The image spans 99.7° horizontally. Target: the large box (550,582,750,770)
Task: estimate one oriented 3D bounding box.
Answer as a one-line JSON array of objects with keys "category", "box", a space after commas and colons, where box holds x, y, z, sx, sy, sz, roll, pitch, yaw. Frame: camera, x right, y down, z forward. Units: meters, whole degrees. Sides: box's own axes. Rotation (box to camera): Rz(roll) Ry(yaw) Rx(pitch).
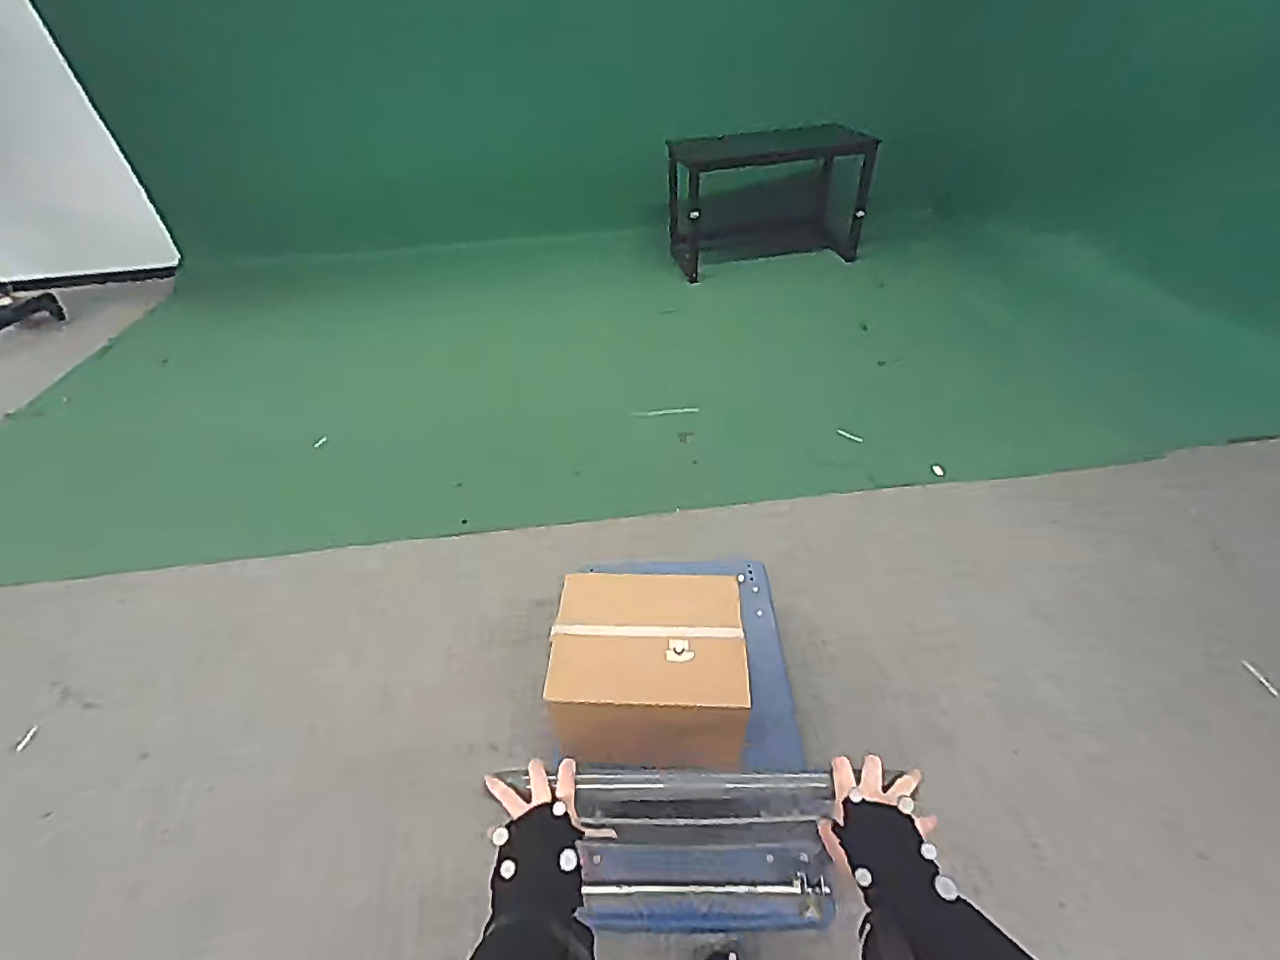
[{"category": "large box", "box": [0.027, 0.457, 1.268, 0.408, 0.320, 0.320, 1, 42, 3]}]
